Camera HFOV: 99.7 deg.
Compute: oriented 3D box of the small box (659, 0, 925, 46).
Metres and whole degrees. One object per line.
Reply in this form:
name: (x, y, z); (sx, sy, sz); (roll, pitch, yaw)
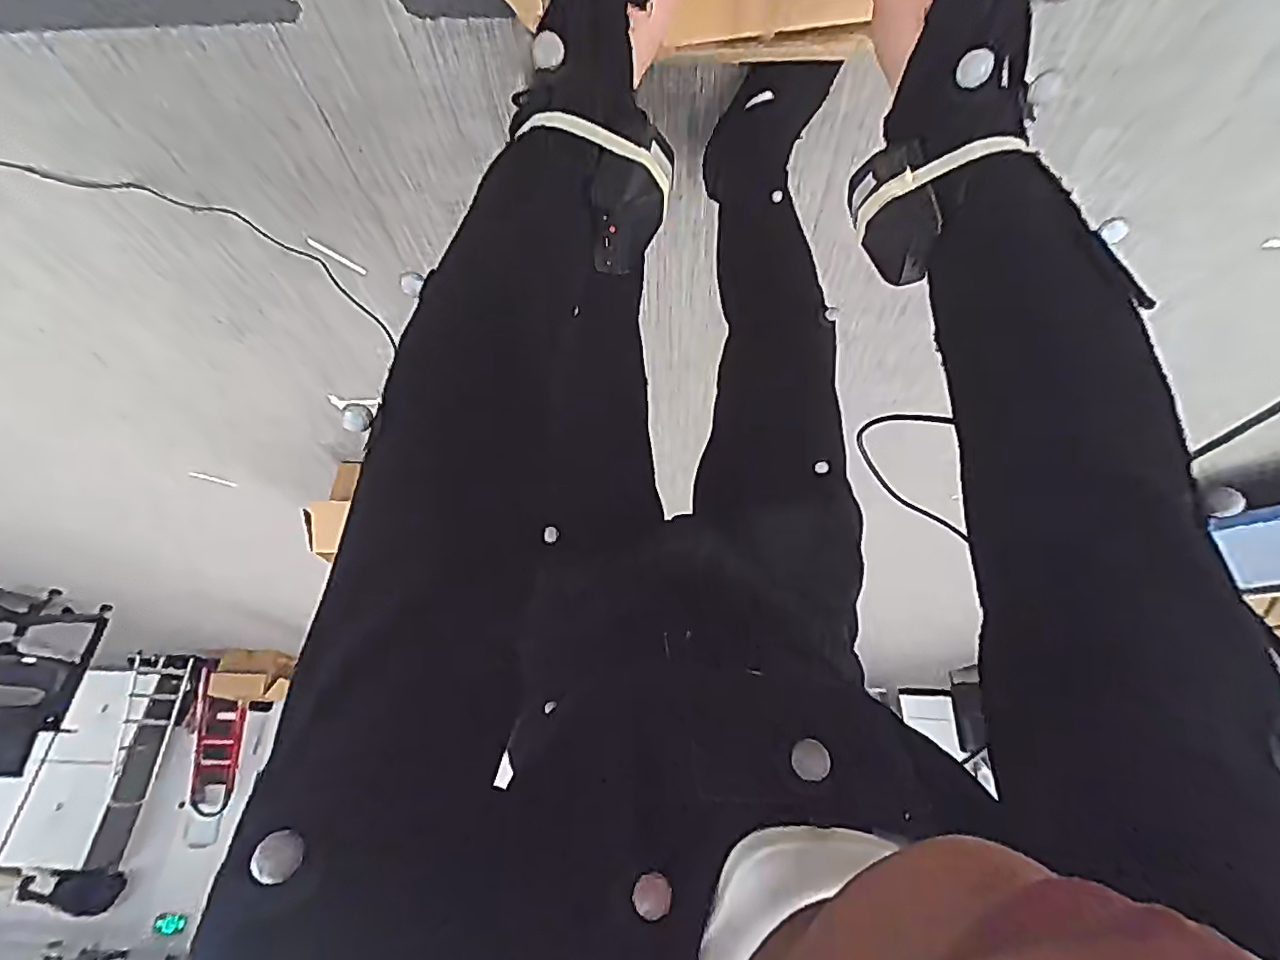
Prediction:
small box: (0.093, -0.415, 0.336); (0.179, 0.176, 0.168); (-2, 151, 7)
